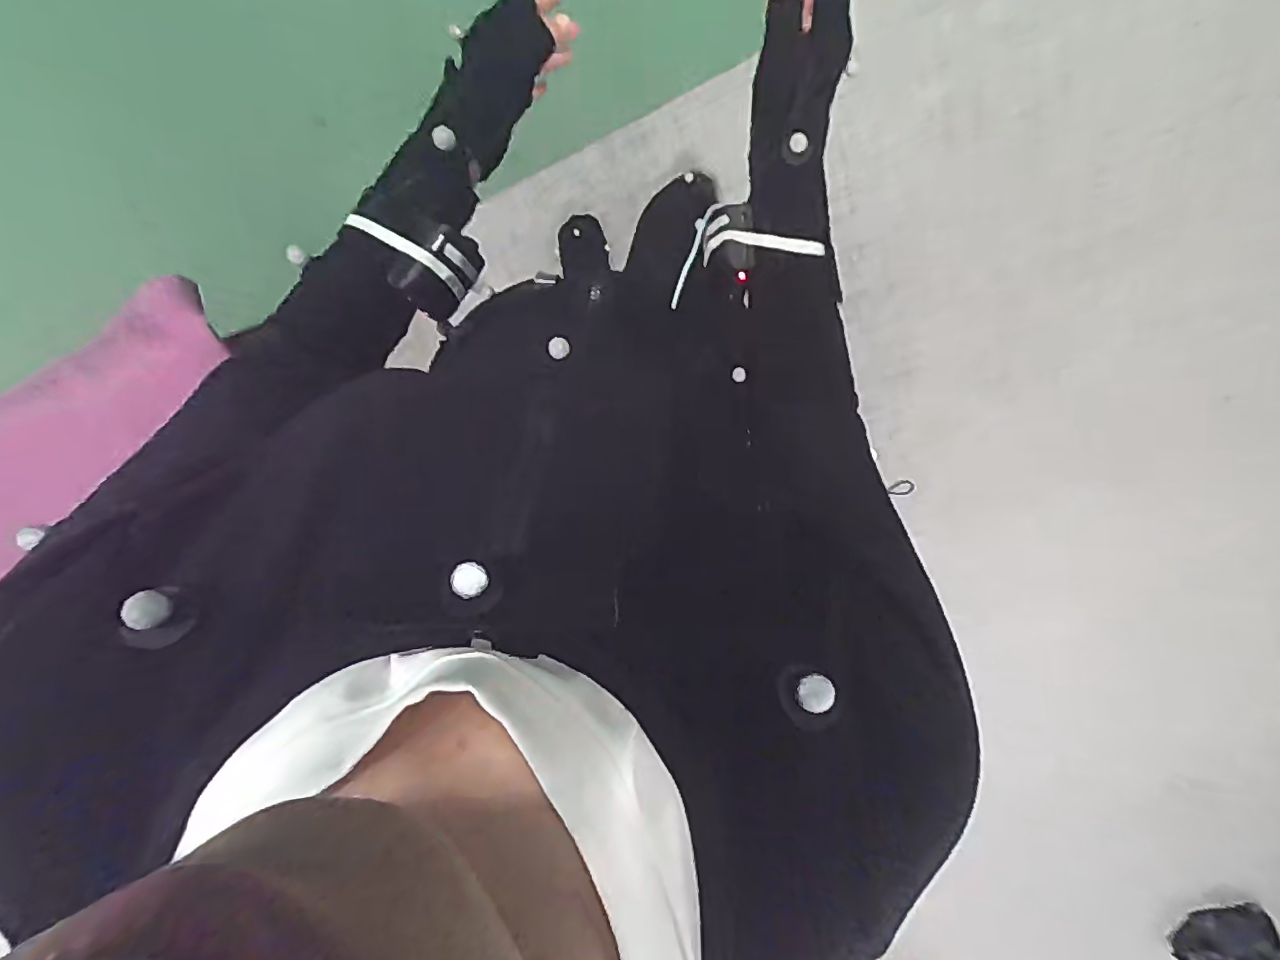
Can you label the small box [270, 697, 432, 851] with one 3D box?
[{"bbox_3d":[-0.497,0.520,0.969,0.179,0.176,0.168,-22,120,10],"label":"small box"}]
